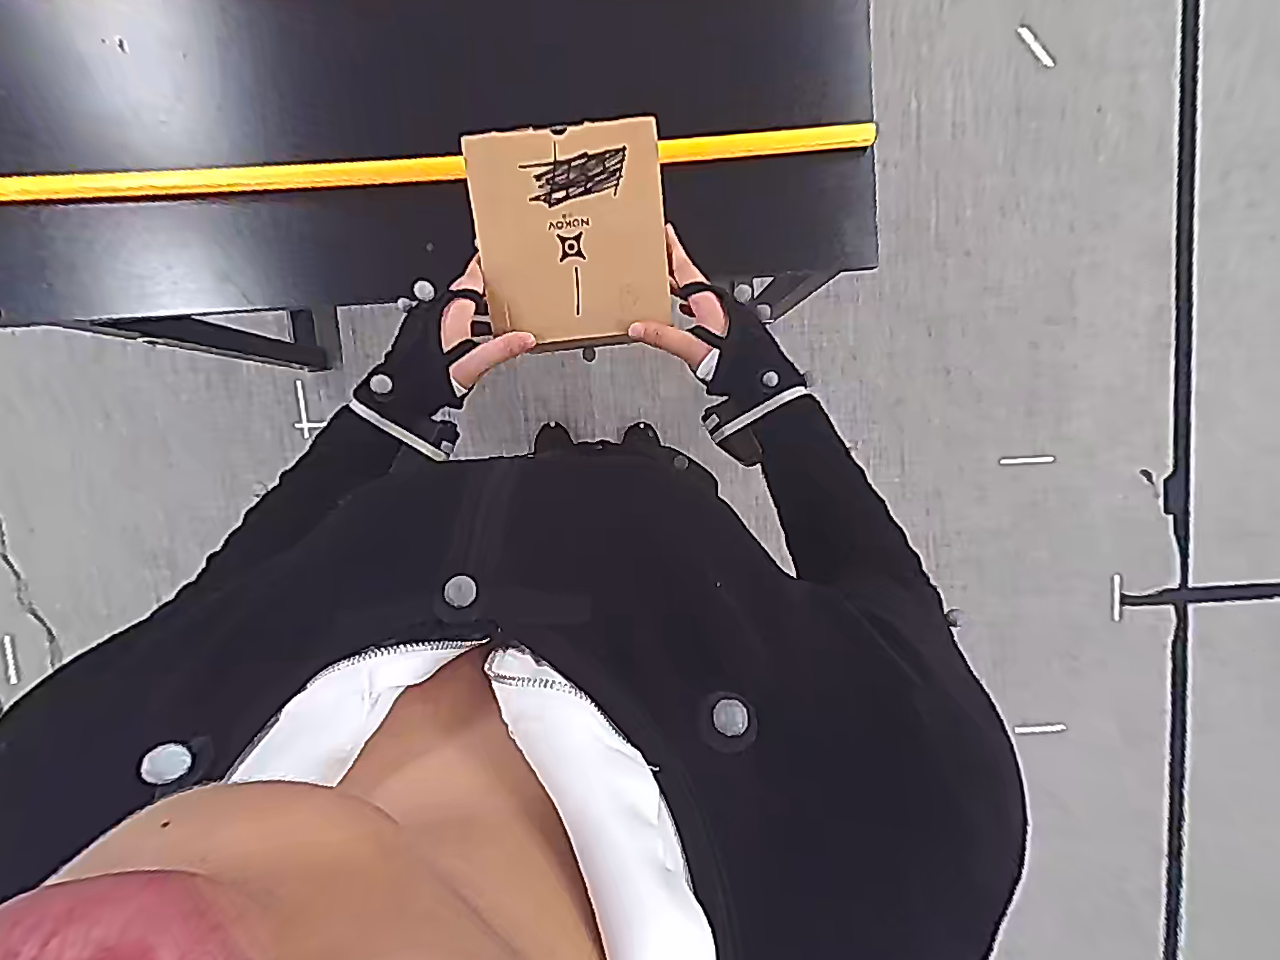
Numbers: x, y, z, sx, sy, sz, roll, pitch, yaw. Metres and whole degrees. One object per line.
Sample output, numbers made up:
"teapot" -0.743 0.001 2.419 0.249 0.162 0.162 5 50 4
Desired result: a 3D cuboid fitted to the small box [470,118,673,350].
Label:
"small box" -0.059 -0.232 0.553 0.168 0.176 0.179 -5 102 1
